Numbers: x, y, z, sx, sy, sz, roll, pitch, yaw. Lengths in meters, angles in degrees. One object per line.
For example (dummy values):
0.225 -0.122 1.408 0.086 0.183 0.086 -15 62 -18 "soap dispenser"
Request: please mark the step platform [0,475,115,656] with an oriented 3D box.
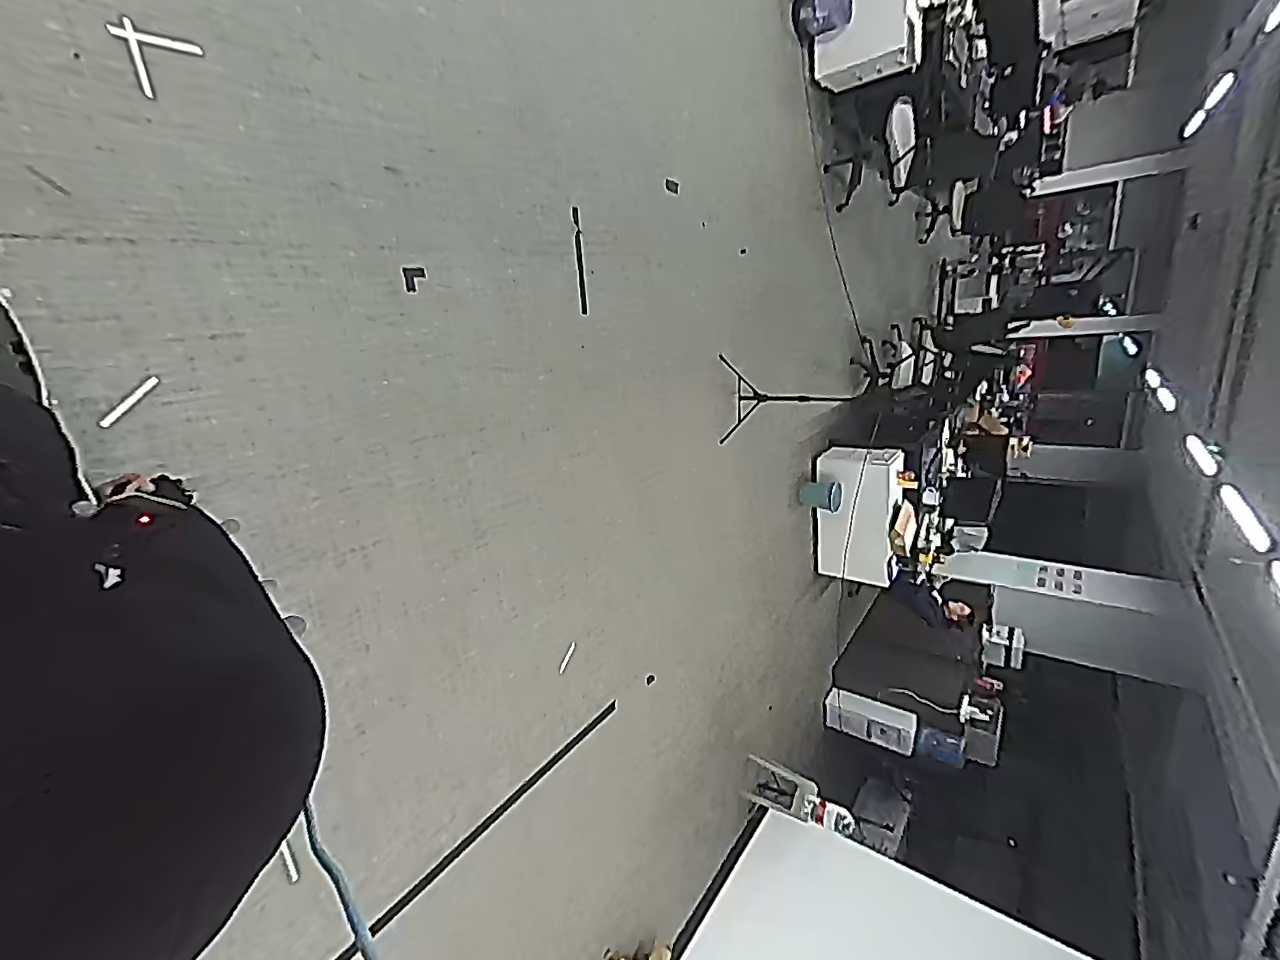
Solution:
-1.259 0.191 0.804 0.684 0.204 0.286 -17 107 -49 "step platform"
